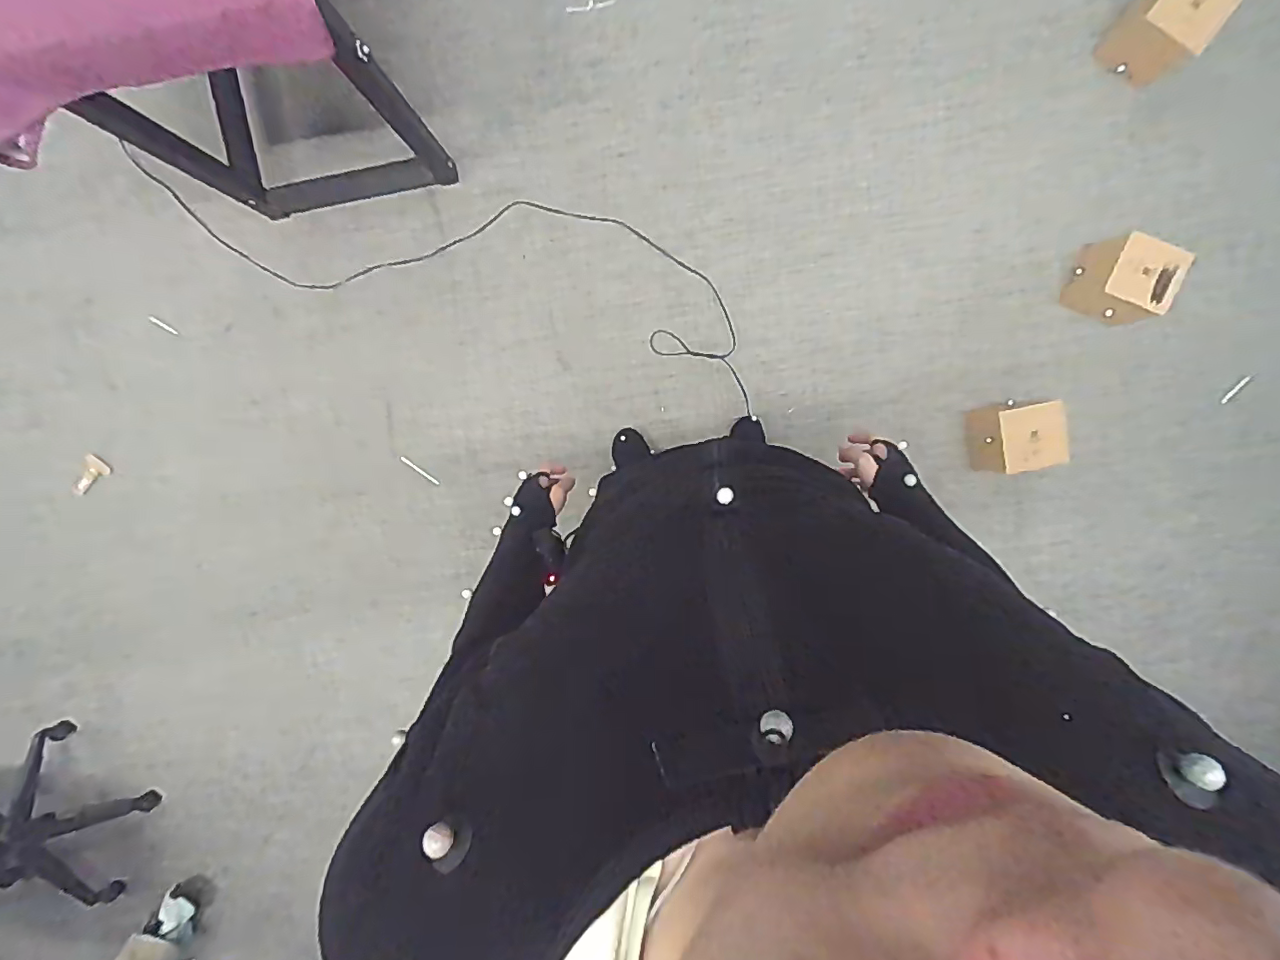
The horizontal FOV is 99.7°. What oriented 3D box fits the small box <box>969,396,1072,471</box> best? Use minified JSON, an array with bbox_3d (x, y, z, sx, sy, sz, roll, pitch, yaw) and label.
[{"bbox_3d":[1.047,-0.129,1.502,0.168,0.176,0.179,-11,96,4],"label":"small box"}]
